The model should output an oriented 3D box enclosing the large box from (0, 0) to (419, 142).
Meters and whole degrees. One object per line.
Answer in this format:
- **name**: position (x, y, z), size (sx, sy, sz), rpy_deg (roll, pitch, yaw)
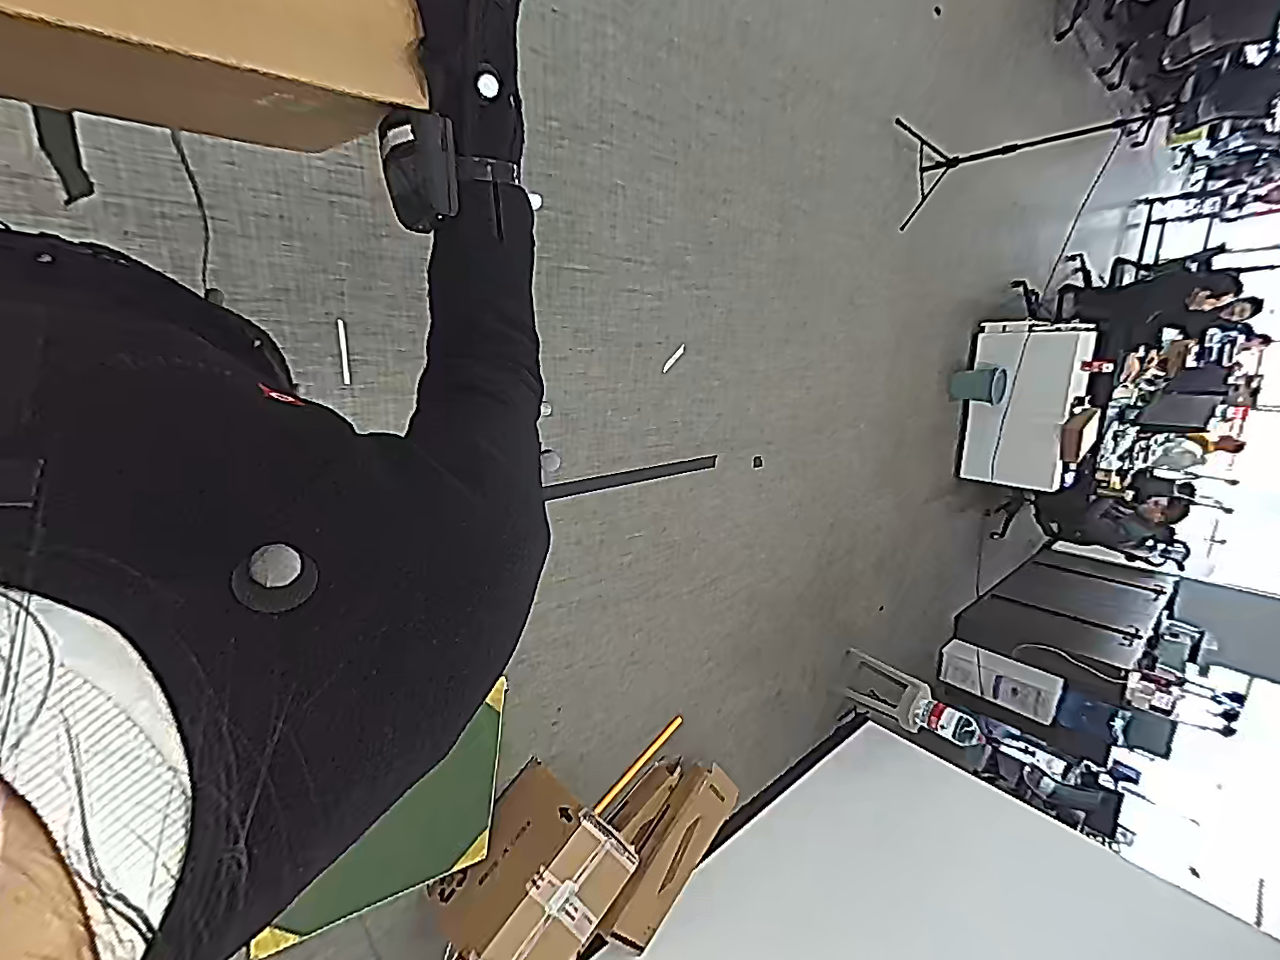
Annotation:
- **large box**: position (-0.384, -0.401, 0.282), size (0.408, 0.320, 0.320), rpy_deg (-14, 120, -39)
